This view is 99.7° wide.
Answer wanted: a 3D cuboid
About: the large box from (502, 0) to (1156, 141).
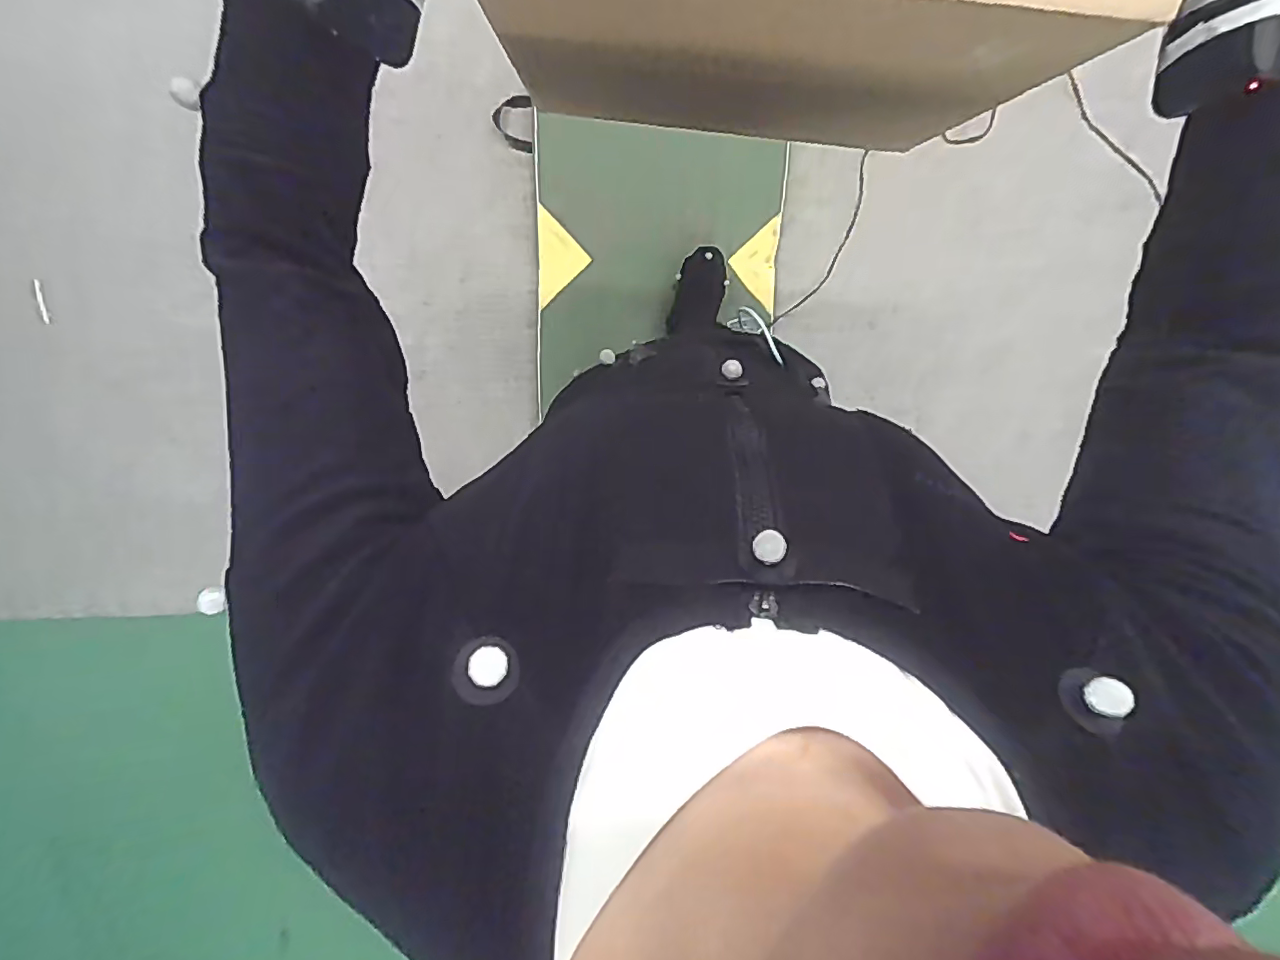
[{"bbox_3d":[0.108,-0.475,0.393,0.408,0.320,0.320,4,110,-3],"label":"large box"}]
